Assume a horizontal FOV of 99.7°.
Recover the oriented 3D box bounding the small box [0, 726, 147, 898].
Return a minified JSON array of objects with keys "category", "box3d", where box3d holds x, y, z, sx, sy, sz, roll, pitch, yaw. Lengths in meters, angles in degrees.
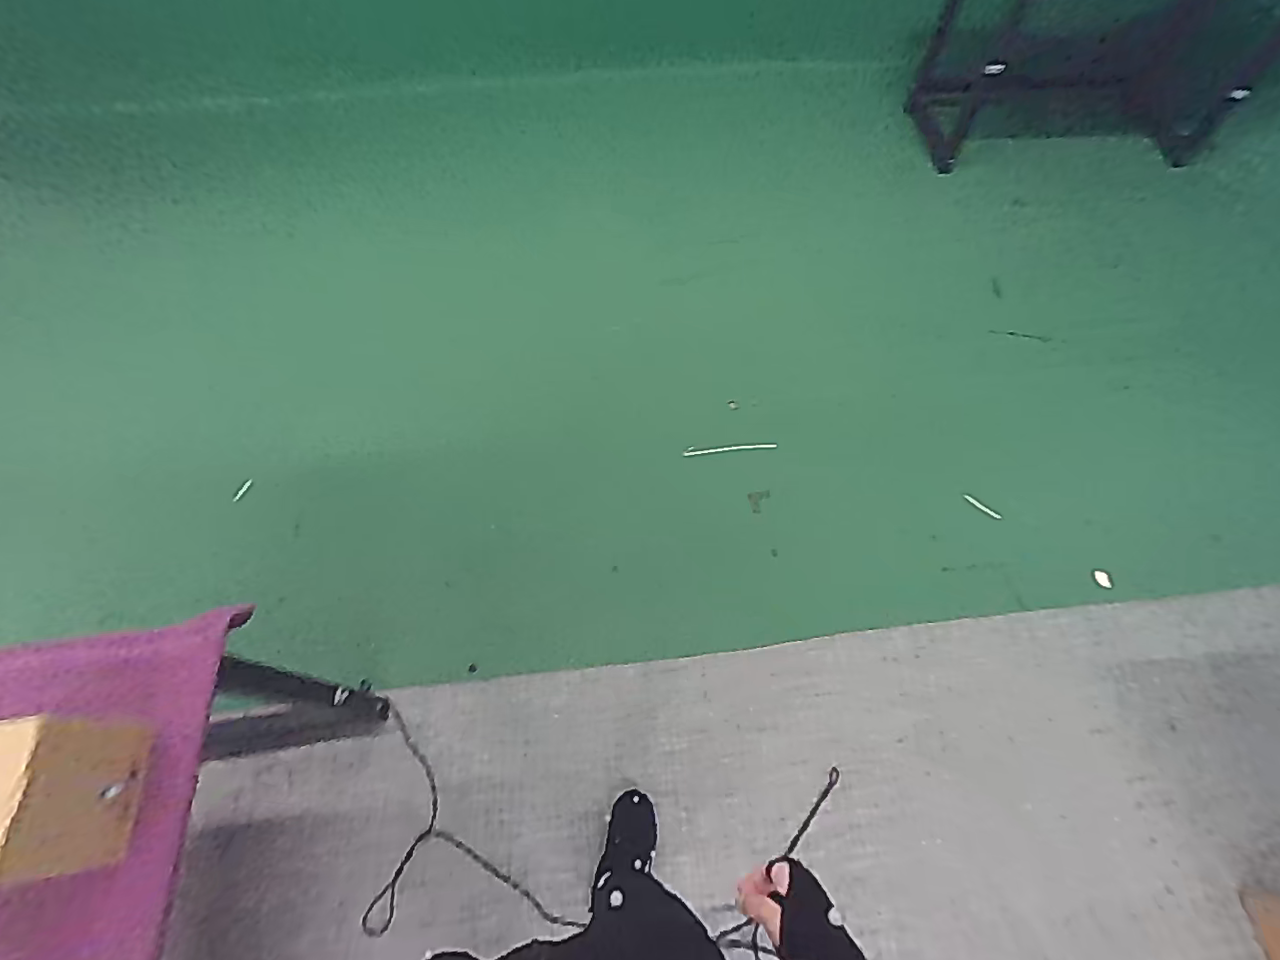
[{"category":"small box","box3d":[-0.759,0.400,0.641,0.179,0.176,0.168,-8,62,-4]}]
